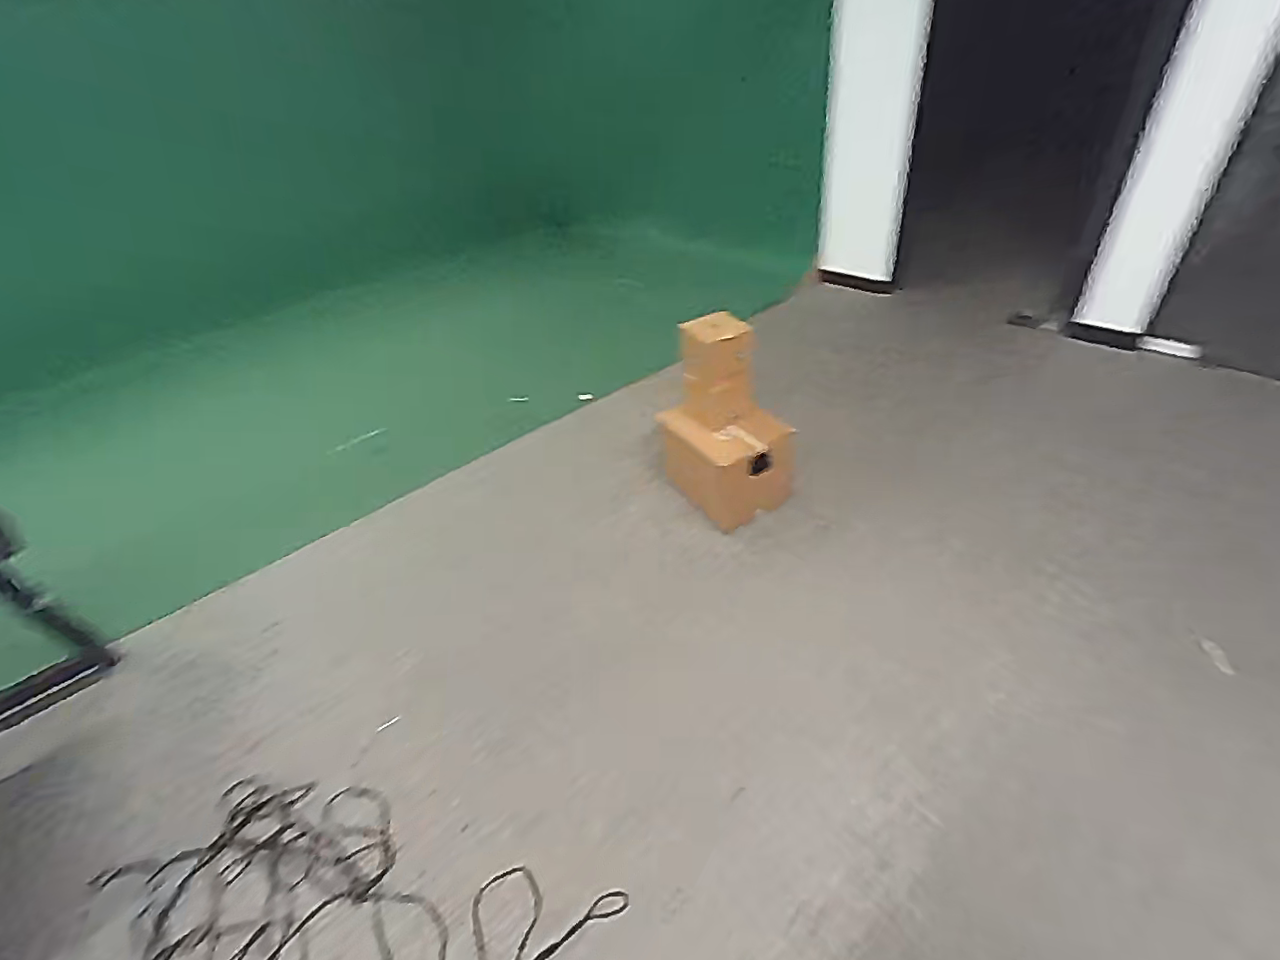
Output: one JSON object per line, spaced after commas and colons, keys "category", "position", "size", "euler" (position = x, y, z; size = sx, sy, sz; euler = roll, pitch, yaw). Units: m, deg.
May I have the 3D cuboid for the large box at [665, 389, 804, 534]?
{"category": "large box", "position": [0.334, -0.077, 1.985], "size": [0.320, 0.320, 0.408], "euler": [-26, 43, -18]}

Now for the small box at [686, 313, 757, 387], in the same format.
{"category": "small box", "position": [0.268, -0.421, 1.771], "size": [0.168, 0.176, 0.179], "euler": [-21, 40, -16]}
